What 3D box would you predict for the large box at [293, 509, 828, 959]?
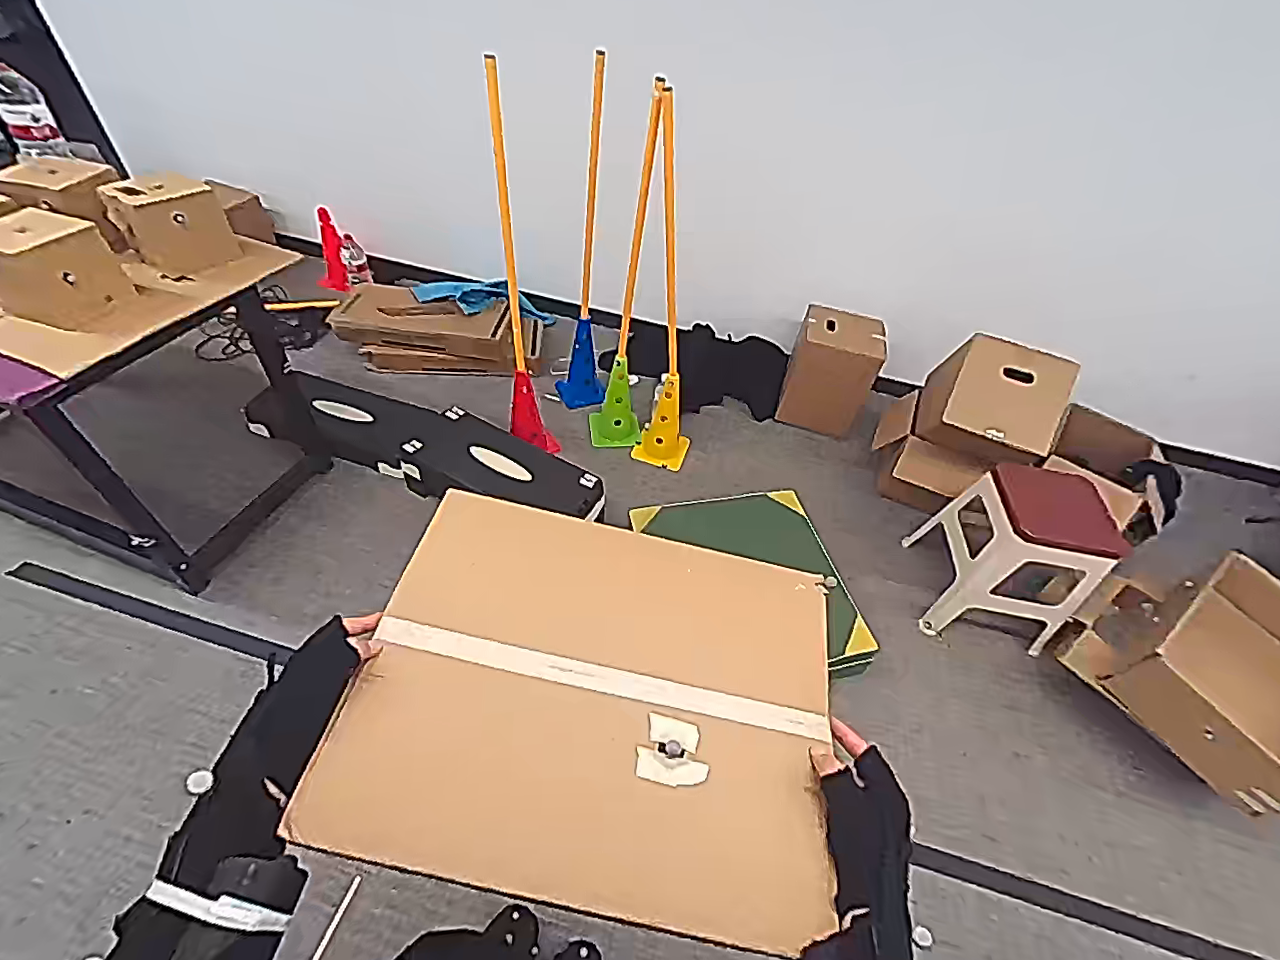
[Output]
[{"bbox_3d":[-0.056,0.279,0.595,0.408,0.320,0.320,14,52,-1],"label":"large box"}]
